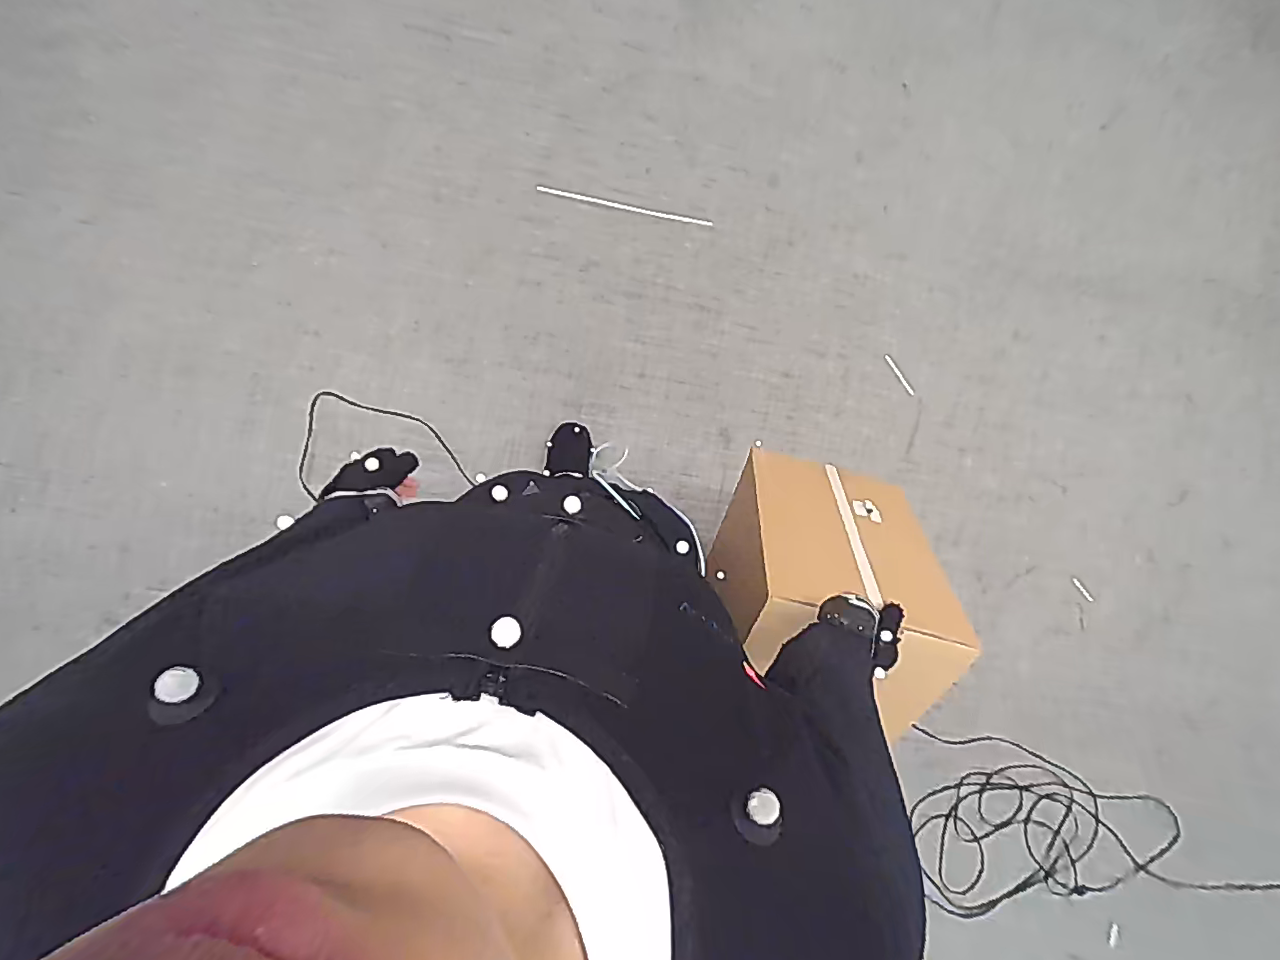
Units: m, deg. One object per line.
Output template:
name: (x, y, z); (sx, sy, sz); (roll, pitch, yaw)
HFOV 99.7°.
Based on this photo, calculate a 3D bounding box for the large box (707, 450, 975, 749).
large box: (0.313, 0.205, 0.996); (0.320, 0.408, 0.320); (15, 124, -3)
